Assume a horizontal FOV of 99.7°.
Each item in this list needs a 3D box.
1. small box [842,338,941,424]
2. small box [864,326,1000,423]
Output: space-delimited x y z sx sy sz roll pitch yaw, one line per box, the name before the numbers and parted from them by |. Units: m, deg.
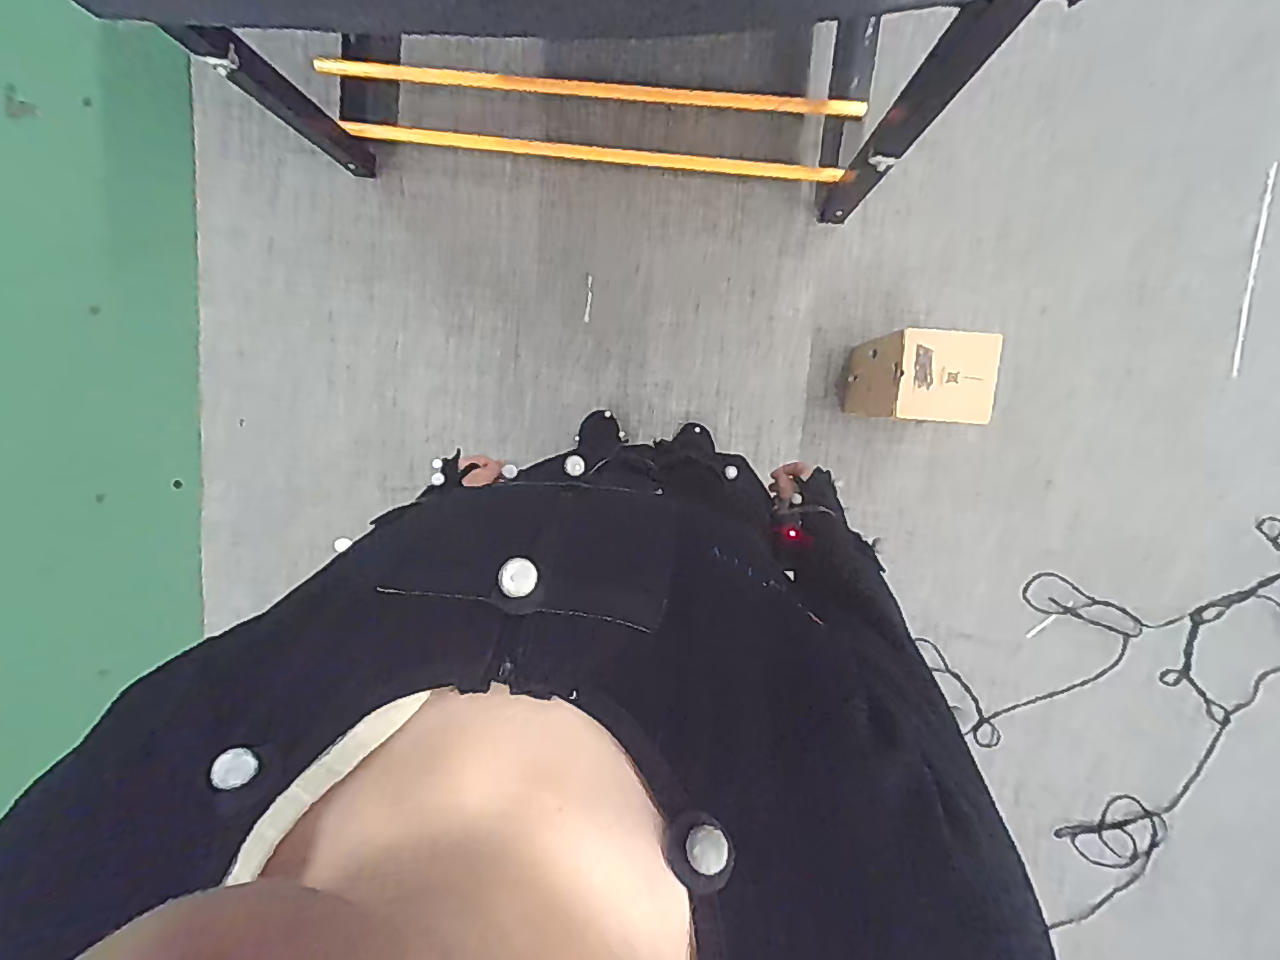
small box | 0.582 -0.220 1.226 0.179 0.176 0.168 6 96 2
small box | 0.561 -0.200 1.063 0.179 0.176 0.168 4 97 2
